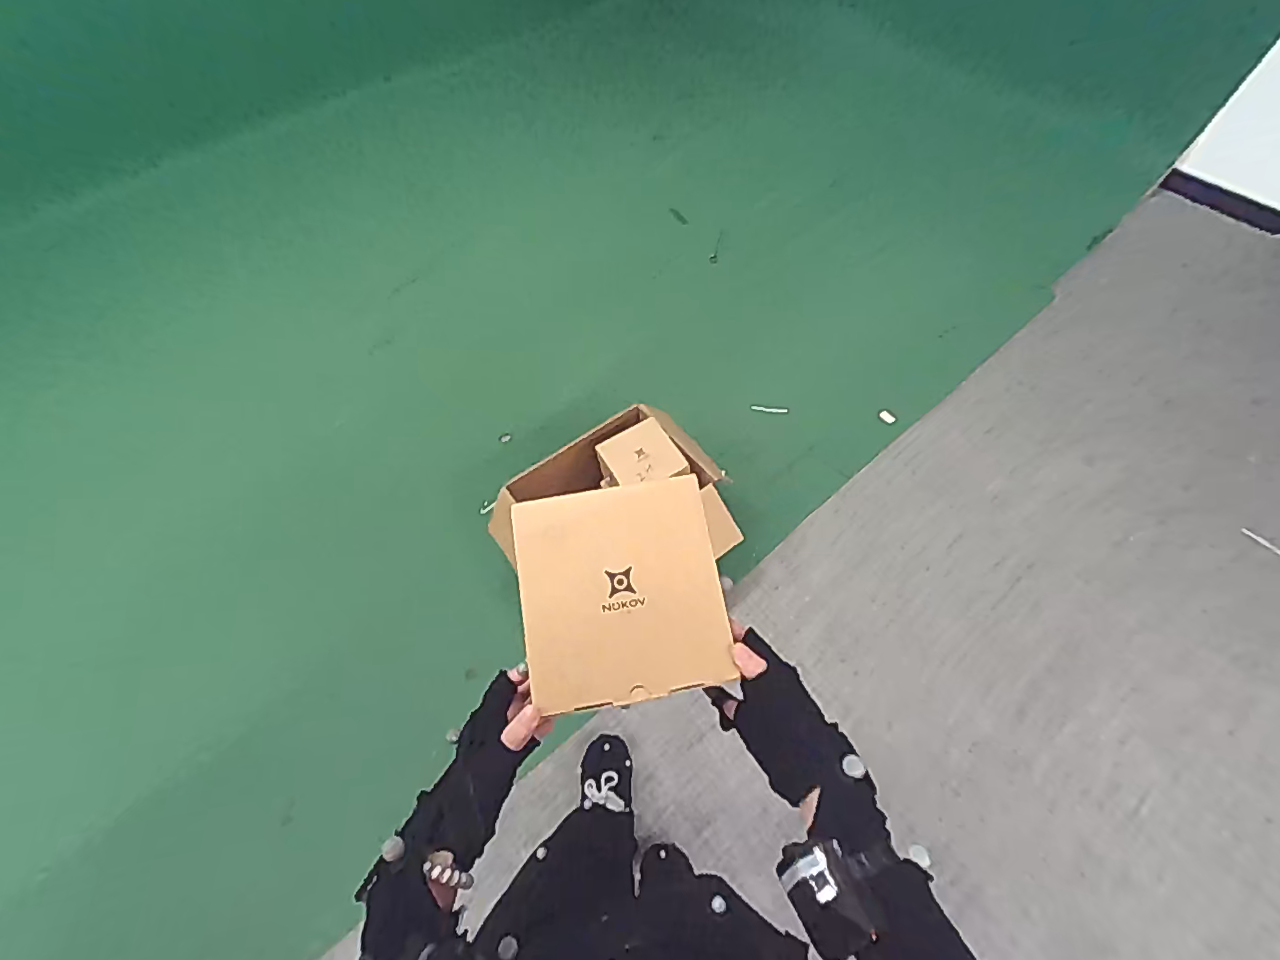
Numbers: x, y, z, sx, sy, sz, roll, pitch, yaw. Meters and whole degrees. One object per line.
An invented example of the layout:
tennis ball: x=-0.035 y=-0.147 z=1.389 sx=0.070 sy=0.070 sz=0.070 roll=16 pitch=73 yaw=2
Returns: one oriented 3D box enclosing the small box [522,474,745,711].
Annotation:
small box: x=-0.014 y=0.111 z=0.522 sx=0.168 sy=0.176 sz=0.179 roll=-9 pitch=74 yaw=-6
